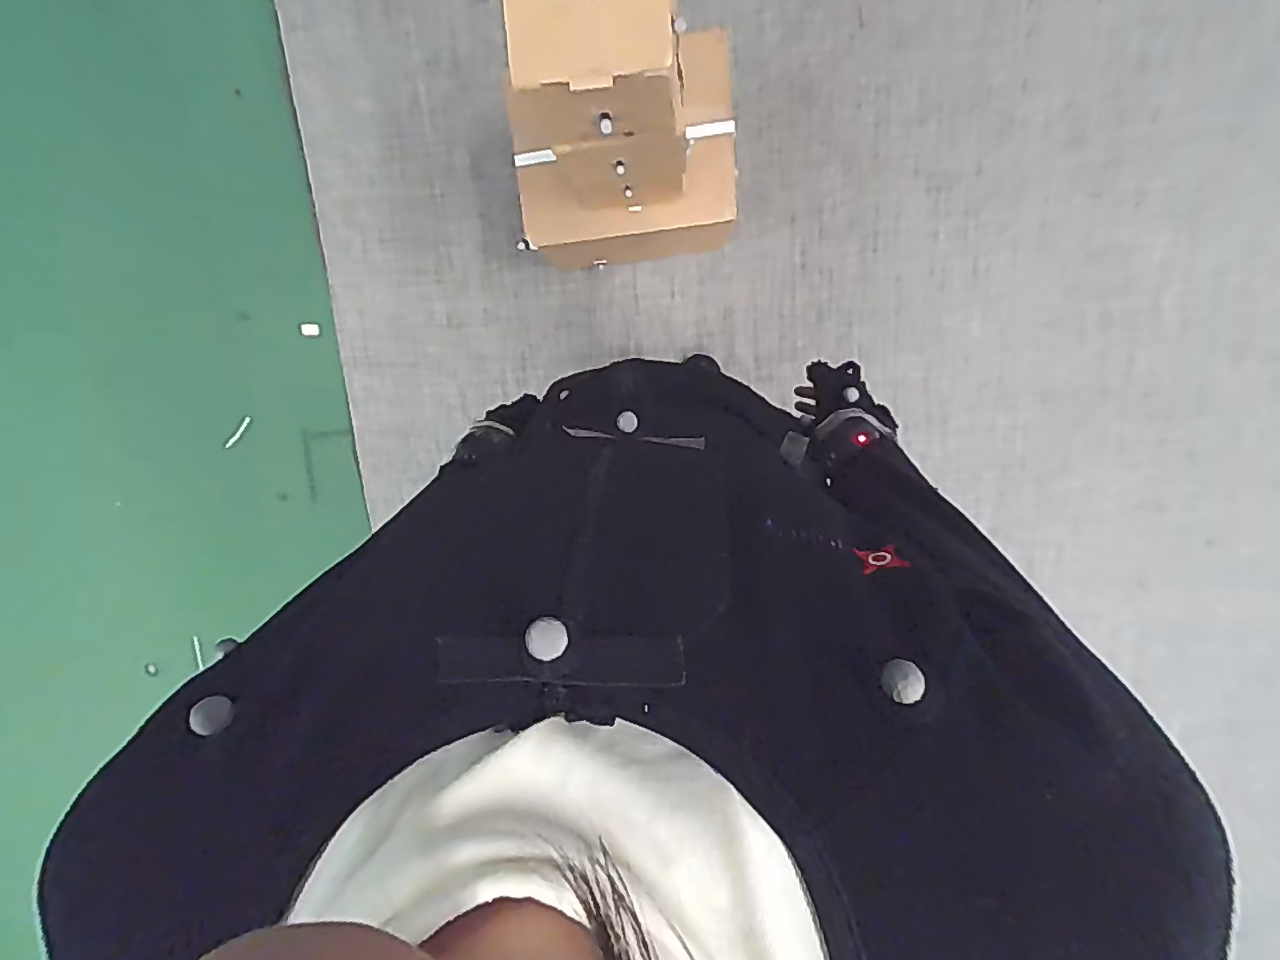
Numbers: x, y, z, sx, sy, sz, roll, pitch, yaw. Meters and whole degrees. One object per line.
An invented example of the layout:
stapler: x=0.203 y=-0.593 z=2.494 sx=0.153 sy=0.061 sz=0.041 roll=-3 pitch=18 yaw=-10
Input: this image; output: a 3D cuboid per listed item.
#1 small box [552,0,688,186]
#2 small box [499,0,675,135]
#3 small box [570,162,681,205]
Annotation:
small box: x=-0.030 y=-0.532 z=0.753 sx=0.179 sy=0.176 sz=0.168 roll=-7 pitch=104 yaw=7
small box: x=-0.048 y=-0.501 z=0.593 sx=0.168 sy=0.176 sz=0.179 roll=0 pitch=105 yaw=7
small box: x=-0.022 y=-0.577 z=0.910 sx=0.179 sy=0.176 sz=0.168 roll=-3 pitch=104 yaw=5
